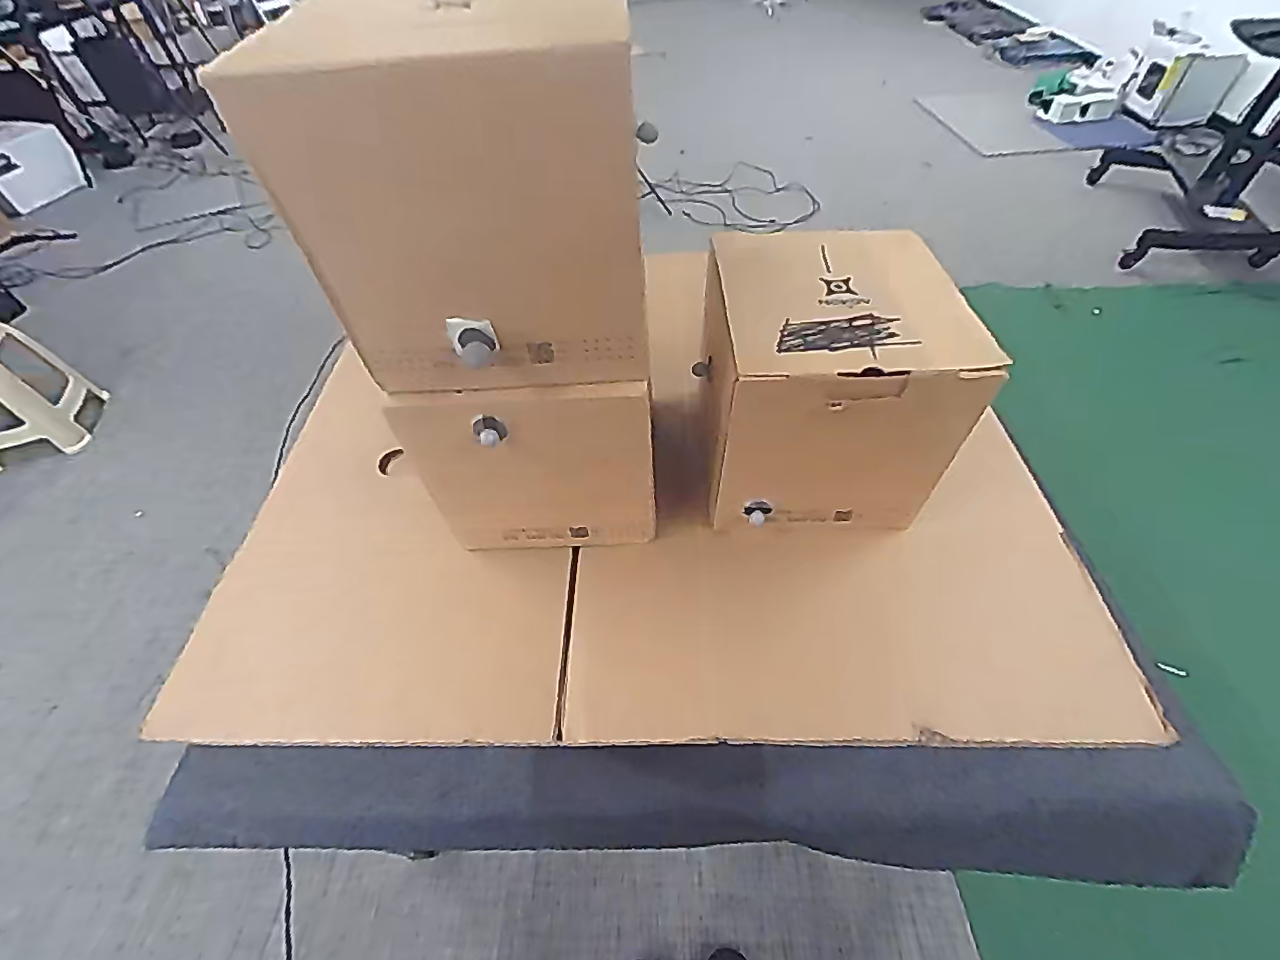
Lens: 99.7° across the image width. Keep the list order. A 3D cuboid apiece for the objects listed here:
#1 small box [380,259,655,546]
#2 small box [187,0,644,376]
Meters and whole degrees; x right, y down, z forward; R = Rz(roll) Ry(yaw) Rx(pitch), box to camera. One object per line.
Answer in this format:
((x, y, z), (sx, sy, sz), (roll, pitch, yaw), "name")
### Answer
((-0.075, -0.065, 0.444), (0.168, 0.176, 0.179), (-3, 51, 3), "small box")
((-0.086, -0.182, 0.311), (0.168, 0.176, 0.179), (-5, 53, 1), "small box")
